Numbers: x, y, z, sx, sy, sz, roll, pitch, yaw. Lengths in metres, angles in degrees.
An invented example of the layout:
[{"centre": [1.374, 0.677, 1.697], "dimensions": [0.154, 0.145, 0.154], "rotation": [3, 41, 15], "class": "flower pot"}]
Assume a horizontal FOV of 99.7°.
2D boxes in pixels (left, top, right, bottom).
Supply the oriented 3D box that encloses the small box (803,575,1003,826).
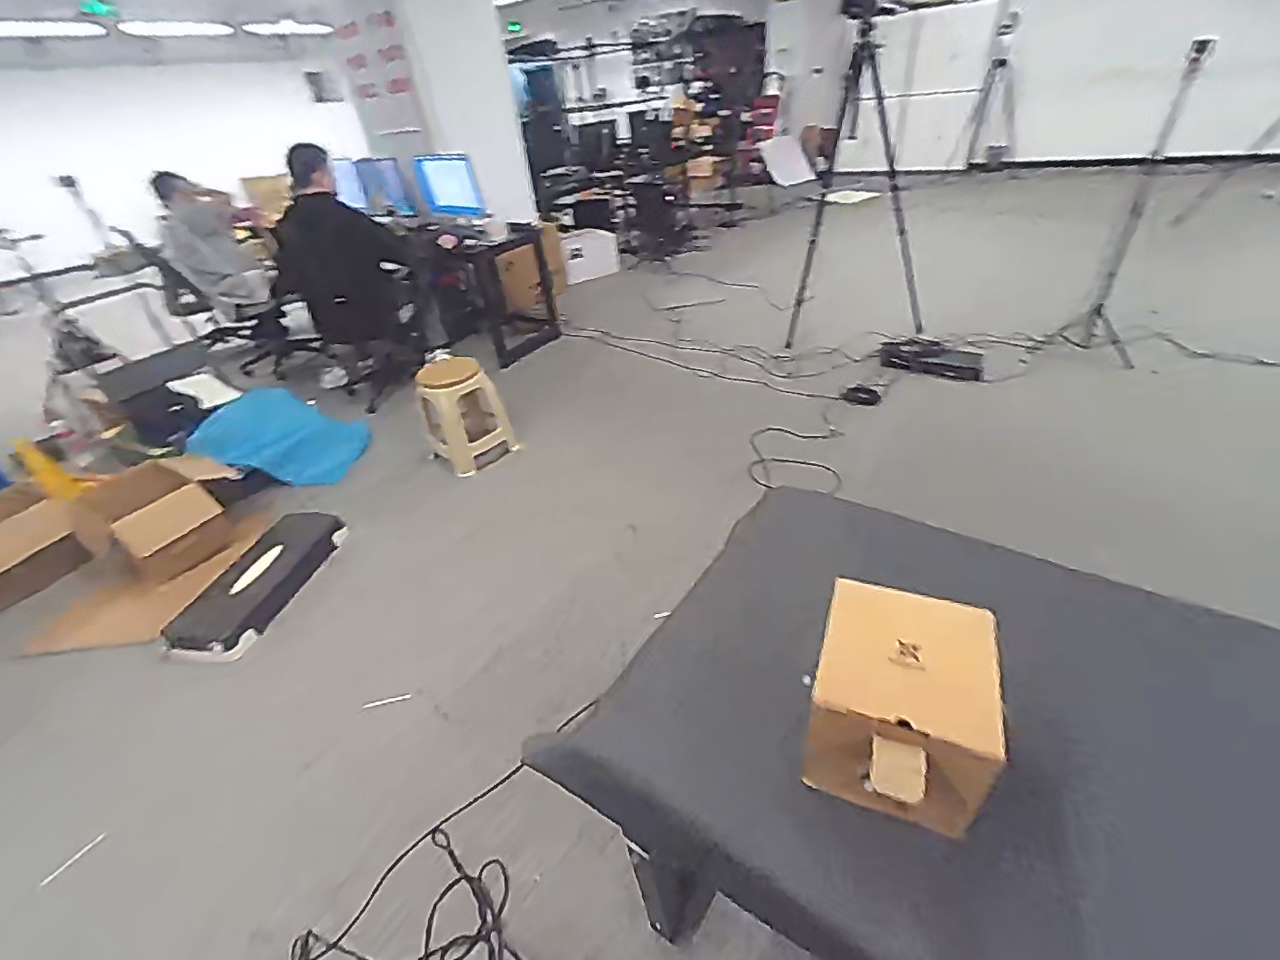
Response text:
[{"centre": [0.287, 0.243, 0.613], "dimensions": [0.168, 0.176, 0.179], "rotation": [10, 40, 22], "class": "small box"}]
